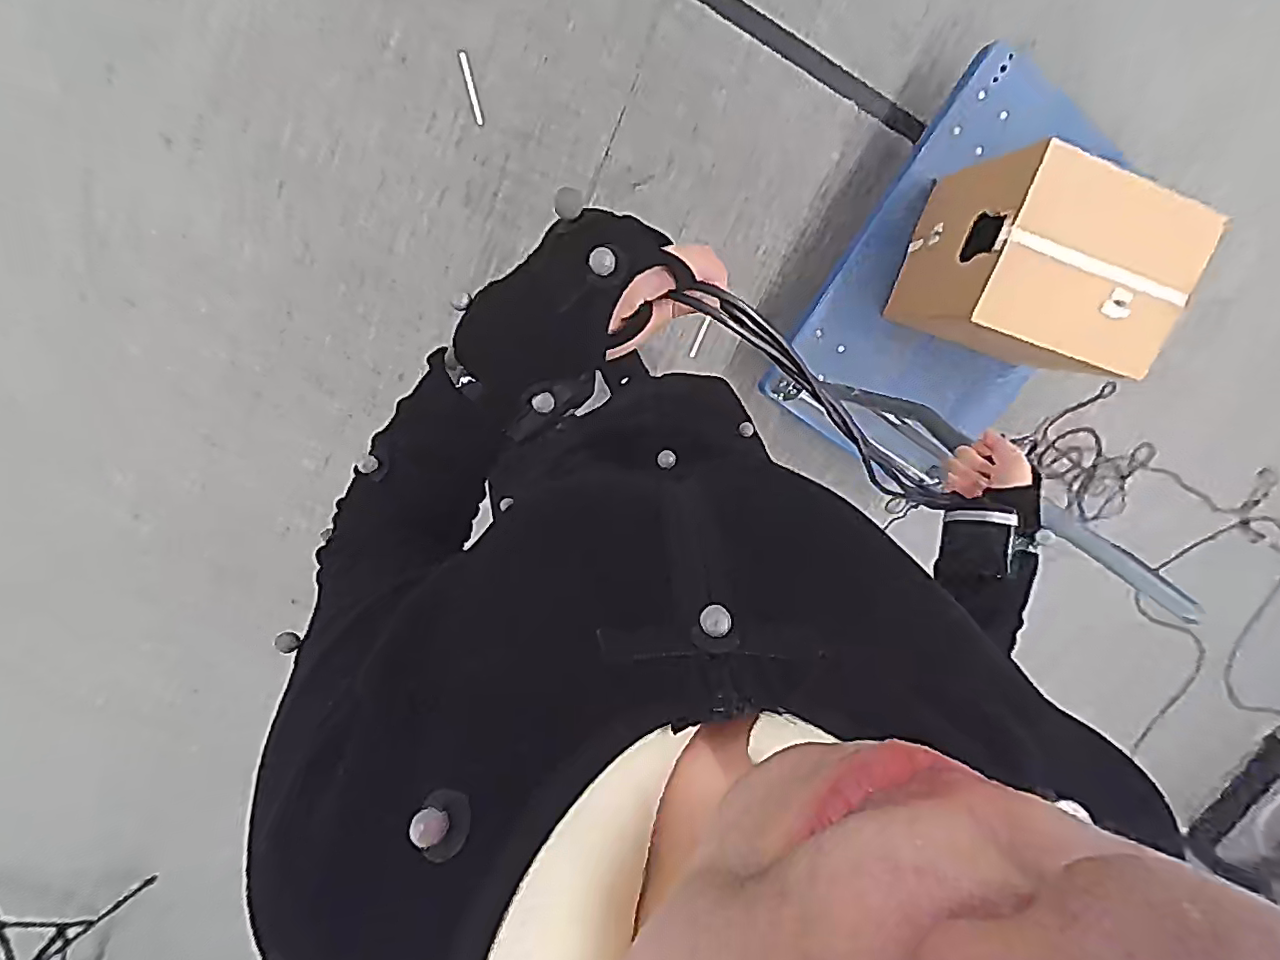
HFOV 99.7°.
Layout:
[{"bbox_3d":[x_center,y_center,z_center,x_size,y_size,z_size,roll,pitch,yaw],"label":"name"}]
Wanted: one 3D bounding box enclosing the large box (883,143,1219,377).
[{"bbox_3d":[0.809,-0.430,1.126,0.408,0.320,0.320,14,106,-11],"label":"large box"}]
